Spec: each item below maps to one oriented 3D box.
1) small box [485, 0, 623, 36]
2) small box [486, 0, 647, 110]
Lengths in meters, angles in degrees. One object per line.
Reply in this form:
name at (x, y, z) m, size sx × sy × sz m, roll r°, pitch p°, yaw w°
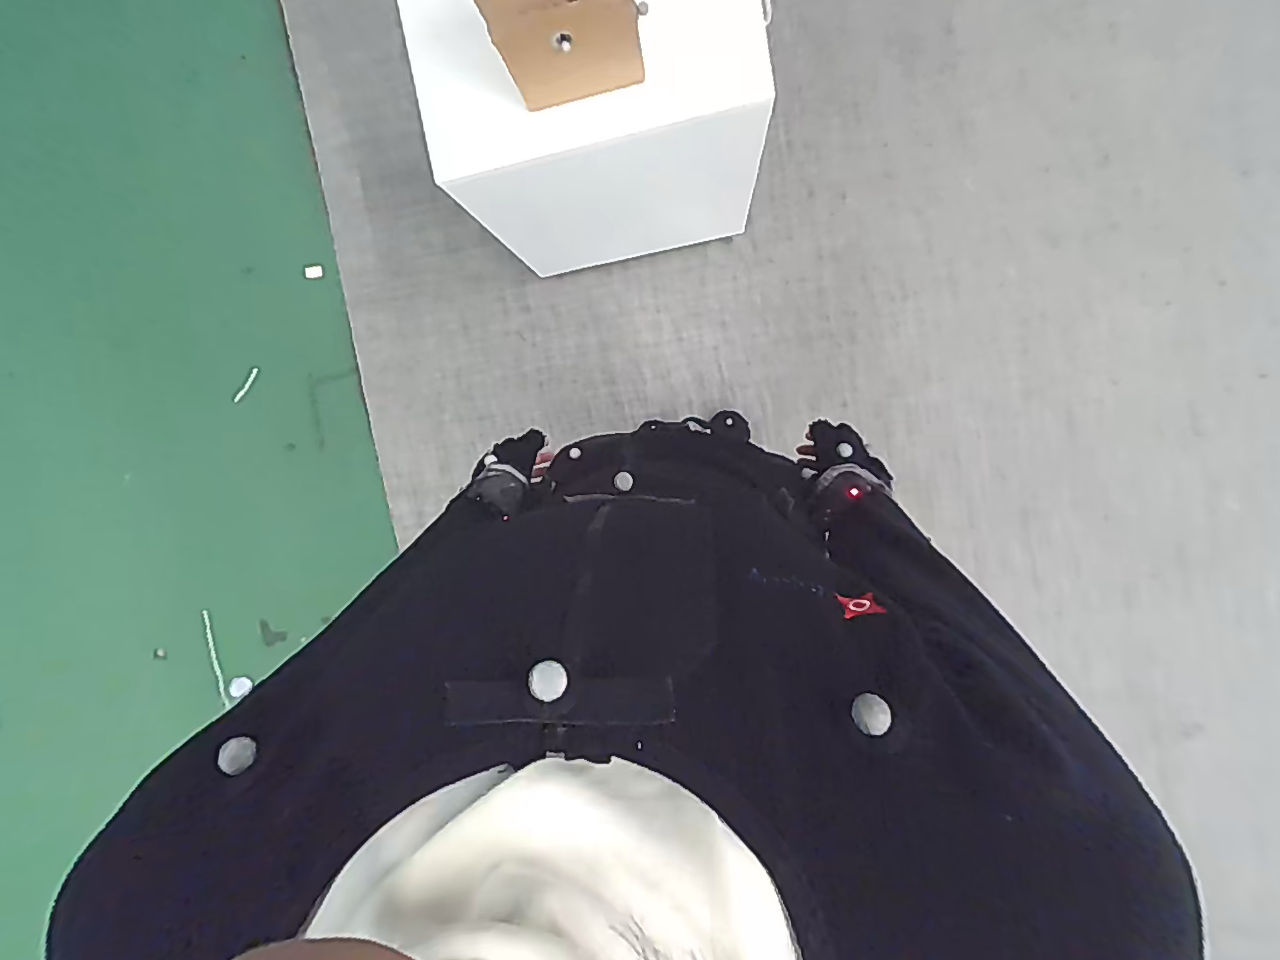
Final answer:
small box at (-0.111, -0.606, 0.537) m, size 0.168 × 0.176 × 0.179 m, roll -11°, pitch 96°, yaw 6°
small box at (-0.095, -0.620, 0.697) m, size 0.179 × 0.176 × 0.168 m, roll -10°, pitch 95°, yaw 6°
